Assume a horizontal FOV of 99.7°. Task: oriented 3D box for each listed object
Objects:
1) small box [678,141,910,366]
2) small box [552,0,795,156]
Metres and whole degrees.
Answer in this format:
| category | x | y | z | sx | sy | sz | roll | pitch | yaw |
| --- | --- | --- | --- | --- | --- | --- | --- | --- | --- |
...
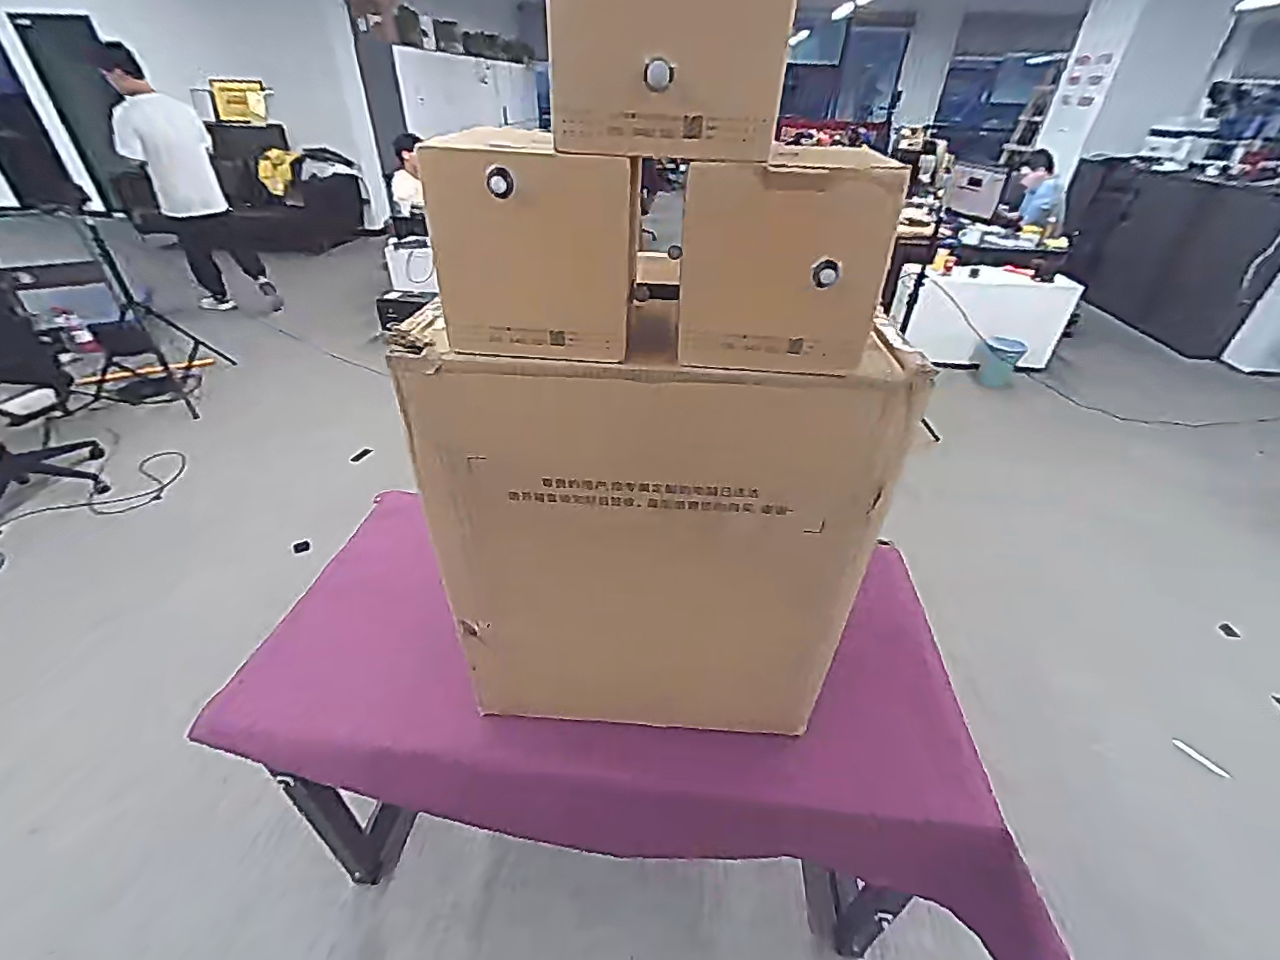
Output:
| category | x | y | z | sx | sy | sz | roll | pitch | yaw |
| --- | --- | --- | --- | --- | --- | --- | --- | --- | --- |
| small box | 0.126 | -0.218 | 0.511 | 0.168 | 0.176 | 0.179 | 5 | 34 | 5 |
| small box | 0.022 | -0.363 | 0.427 | 0.168 | 0.176 | 0.179 | 2 | 36 | -1 |
